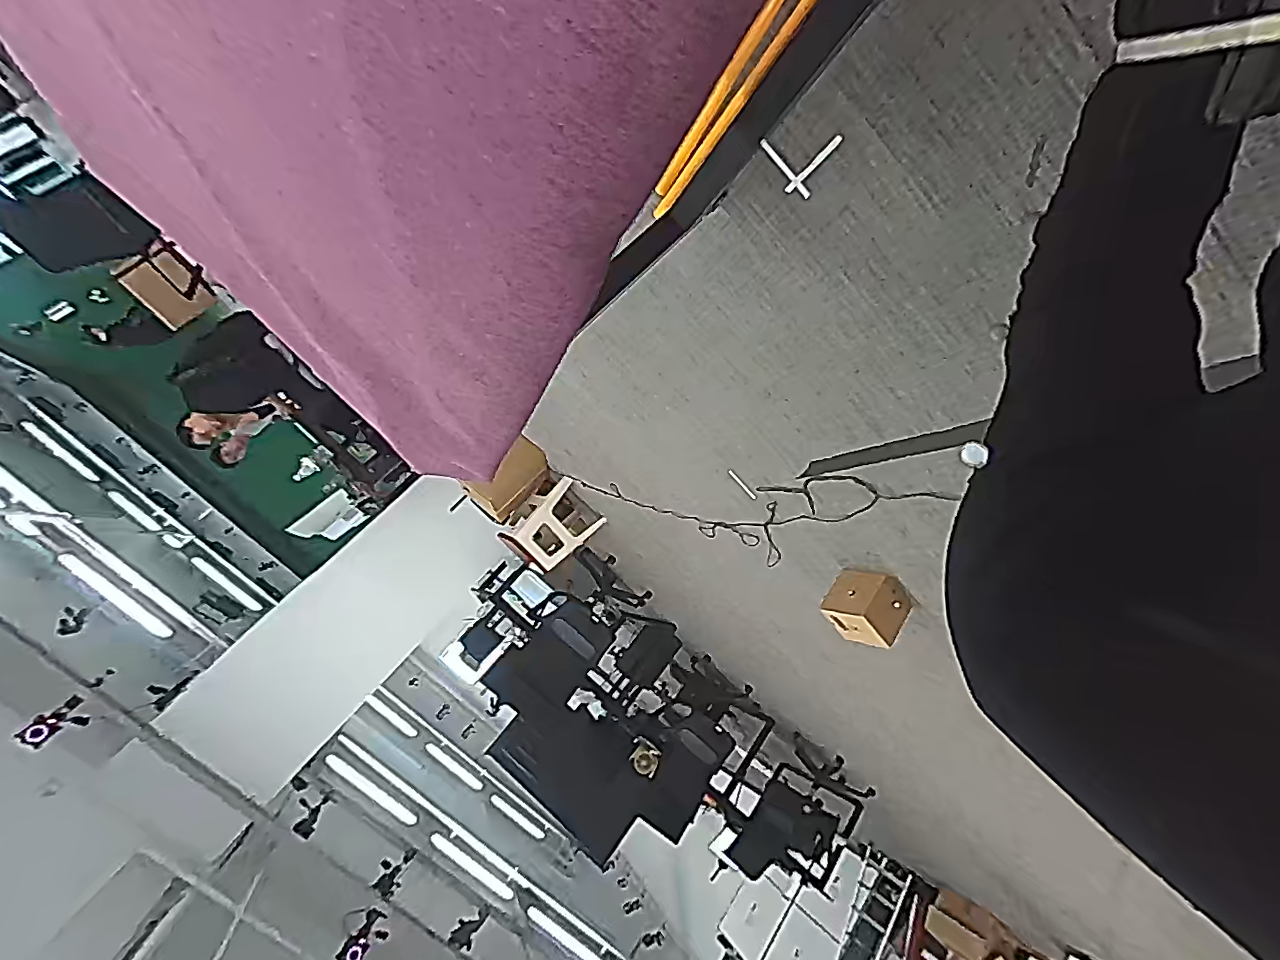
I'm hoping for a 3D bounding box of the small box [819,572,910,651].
[{"bbox_3d":[0.718,0.411,1.722,0.168,0.176,0.179,47,157,-17],"label":"small box"}]
